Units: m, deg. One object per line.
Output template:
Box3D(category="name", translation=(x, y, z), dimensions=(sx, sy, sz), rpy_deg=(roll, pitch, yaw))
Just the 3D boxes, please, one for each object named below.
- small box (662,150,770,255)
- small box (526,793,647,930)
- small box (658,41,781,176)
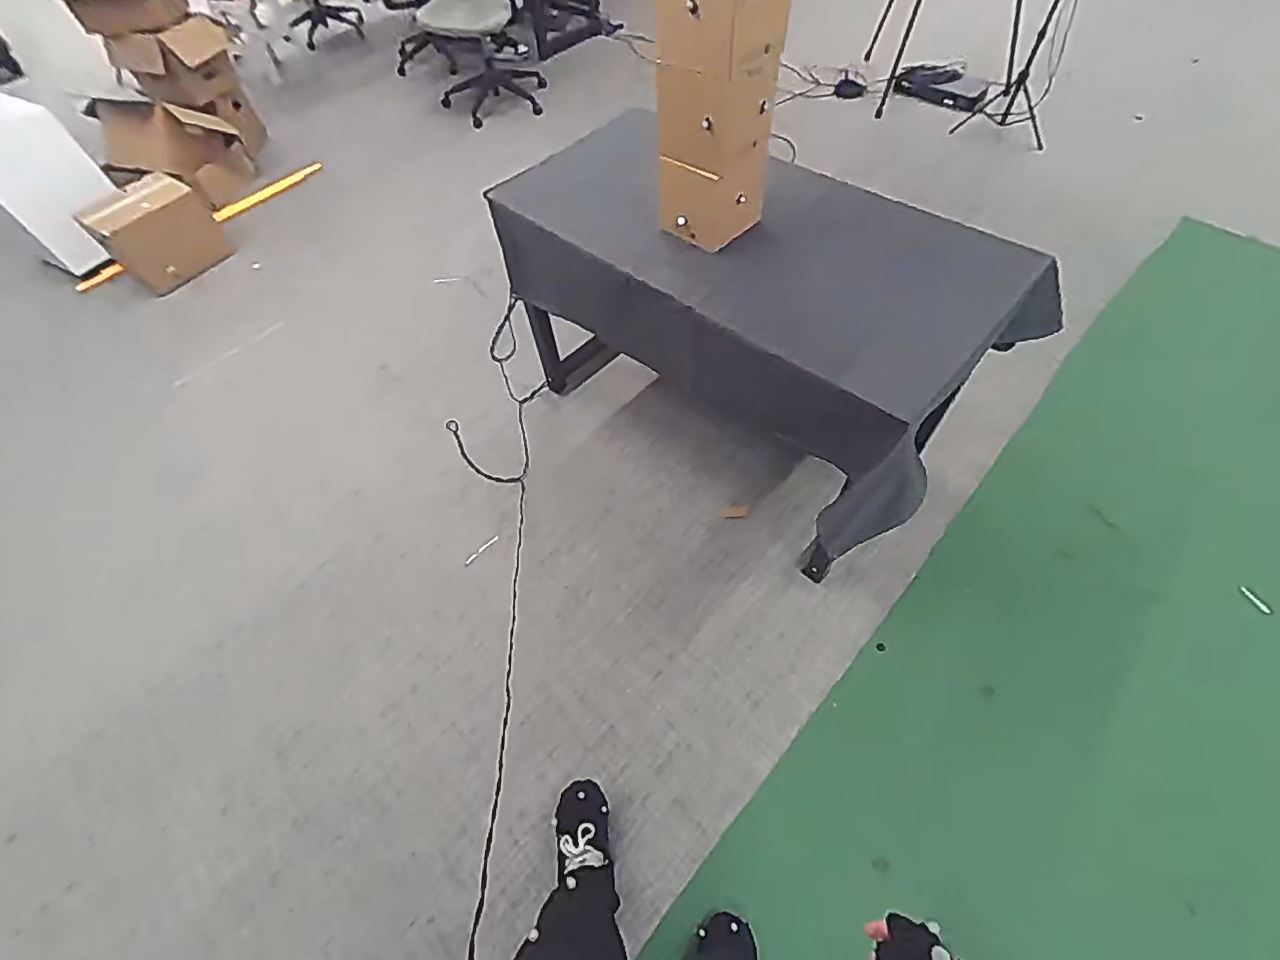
Box3D(category="small box", translation=(0.165, -0.646, 1.220), dimensions=(0.168, 0.176, 0.179), rpy_deg=(38, 66, 26))
Box3D(category="small box", translation=(-0.115, 0.791, 1.140), dimensions=(0.179, 0.176, 0.168), rpy_deg=(21, 73, 28))
Box3D(category="small box", translation=(0.154, -0.742, 1.089), dimensions=(0.179, 0.176, 0.168), rpy_deg=(35, 64, 25))
